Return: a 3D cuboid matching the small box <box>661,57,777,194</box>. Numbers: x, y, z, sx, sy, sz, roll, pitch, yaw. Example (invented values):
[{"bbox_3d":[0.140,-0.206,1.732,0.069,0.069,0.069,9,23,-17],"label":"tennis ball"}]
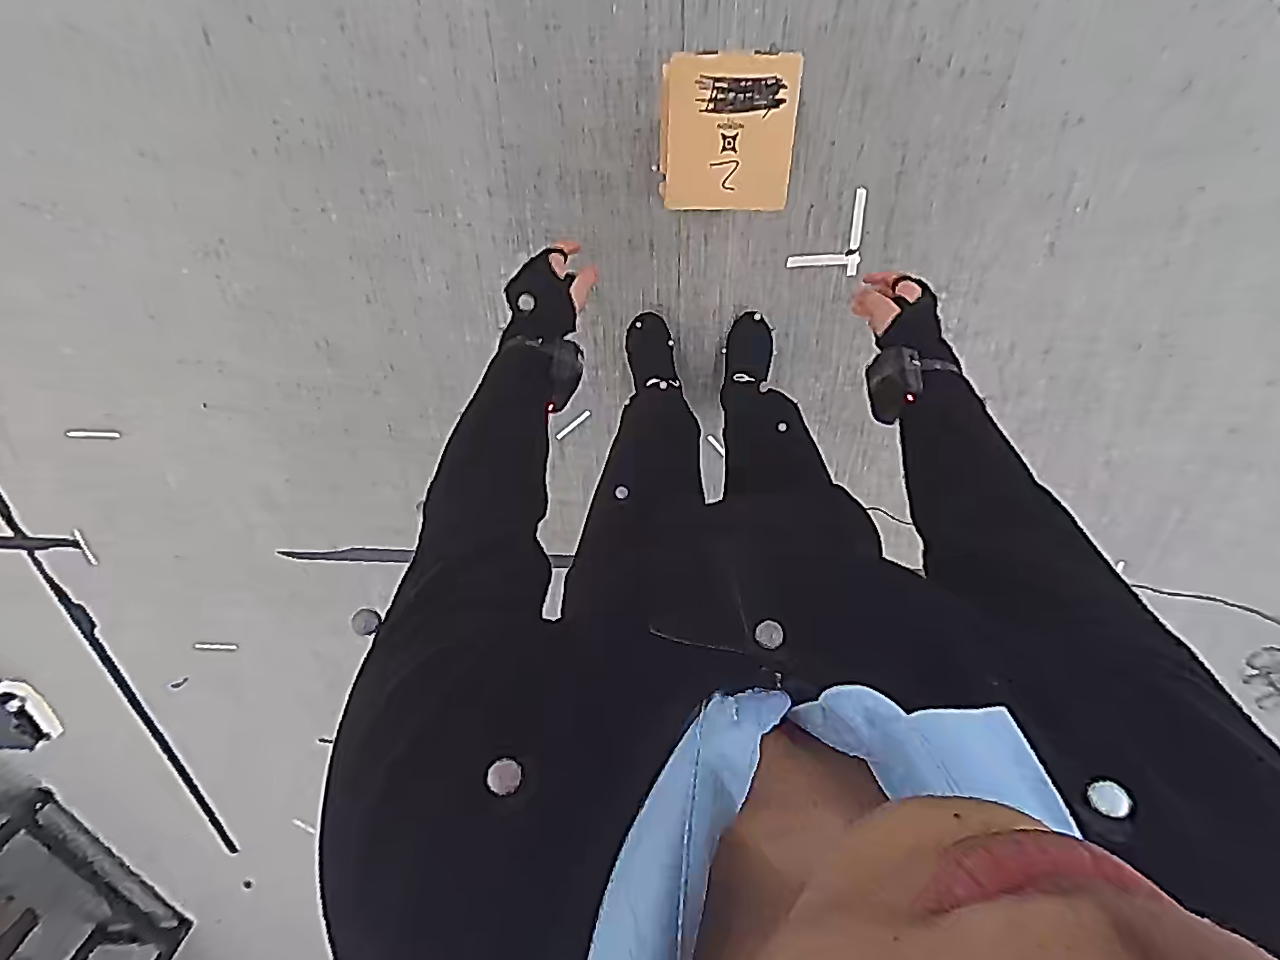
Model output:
[{"bbox_3d":[0.121,-0.576,0.898,0.168,0.176,0.179,1,119,2],"label":"small box"}]
